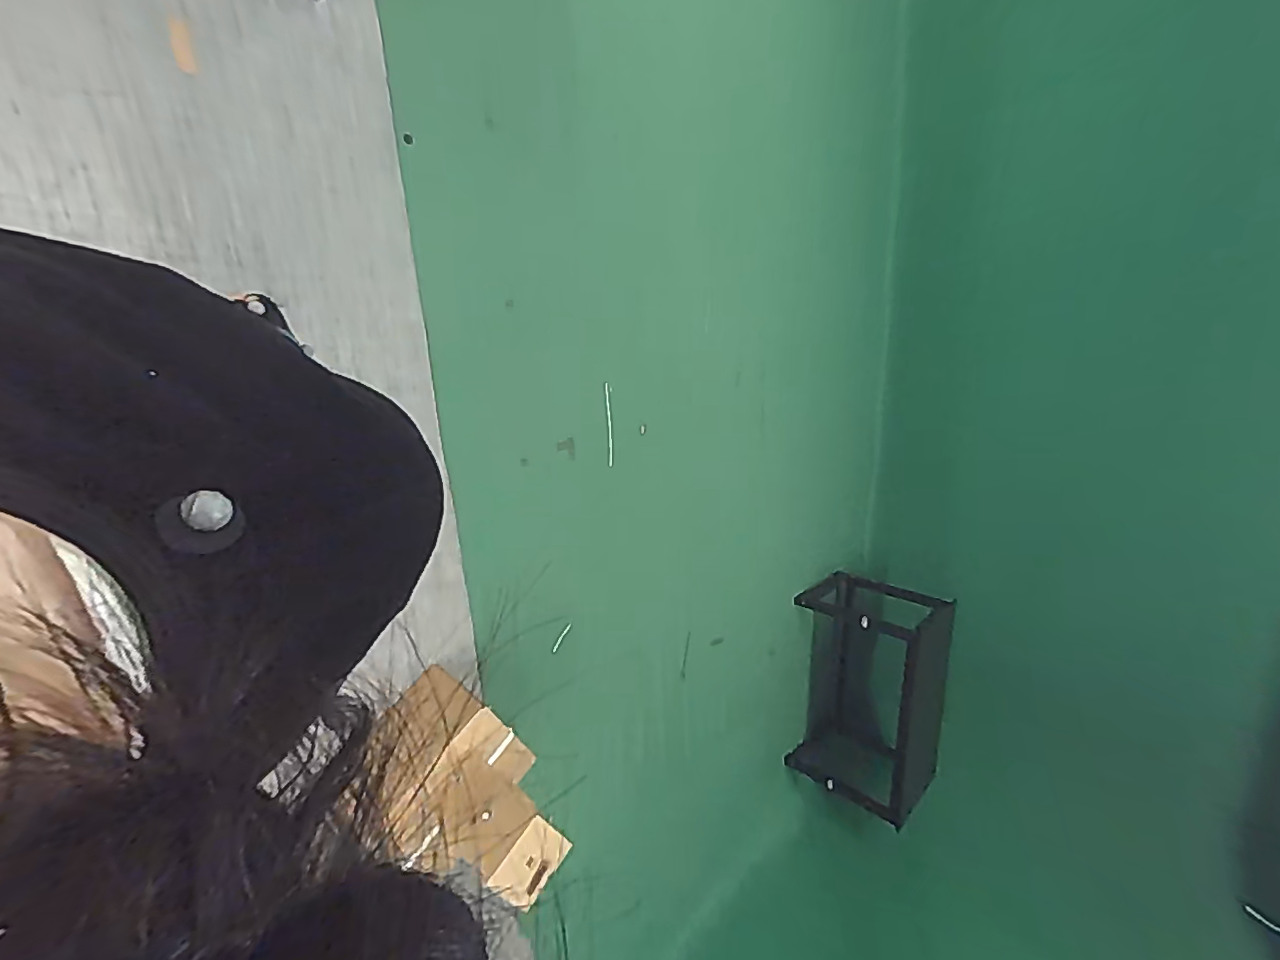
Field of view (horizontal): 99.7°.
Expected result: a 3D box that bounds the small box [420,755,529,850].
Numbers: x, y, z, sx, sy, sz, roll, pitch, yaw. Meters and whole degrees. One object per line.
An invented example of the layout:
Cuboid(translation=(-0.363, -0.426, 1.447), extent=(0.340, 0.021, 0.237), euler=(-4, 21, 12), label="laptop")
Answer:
Cuboid(translation=(-0.429, 0.852, 1.404), extent=(0.168, 0.176, 0.179), euler=(-51, 130, -26), label="small box")

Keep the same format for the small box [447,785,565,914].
Cuboid(translation=(-0.319, 0.867, 1.284), extent=(0.168, 0.176, 0.179), euler=(-47, 127, -29), label="small box")
